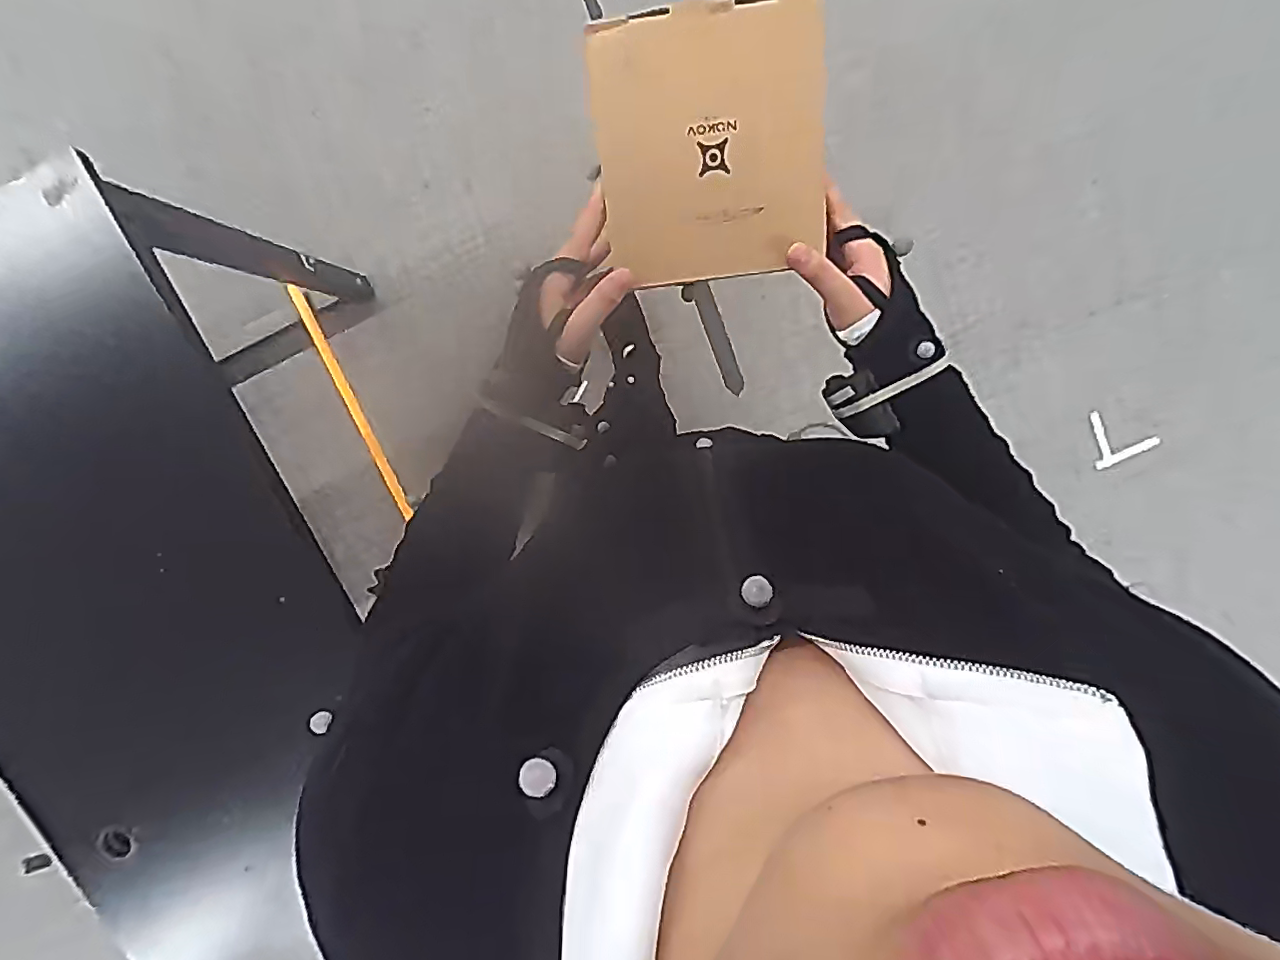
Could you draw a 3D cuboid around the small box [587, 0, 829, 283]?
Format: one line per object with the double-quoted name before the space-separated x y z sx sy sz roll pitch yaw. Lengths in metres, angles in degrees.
"small box" 0.049 -0.268 0.458 0.168 0.176 0.179 -7 110 1
